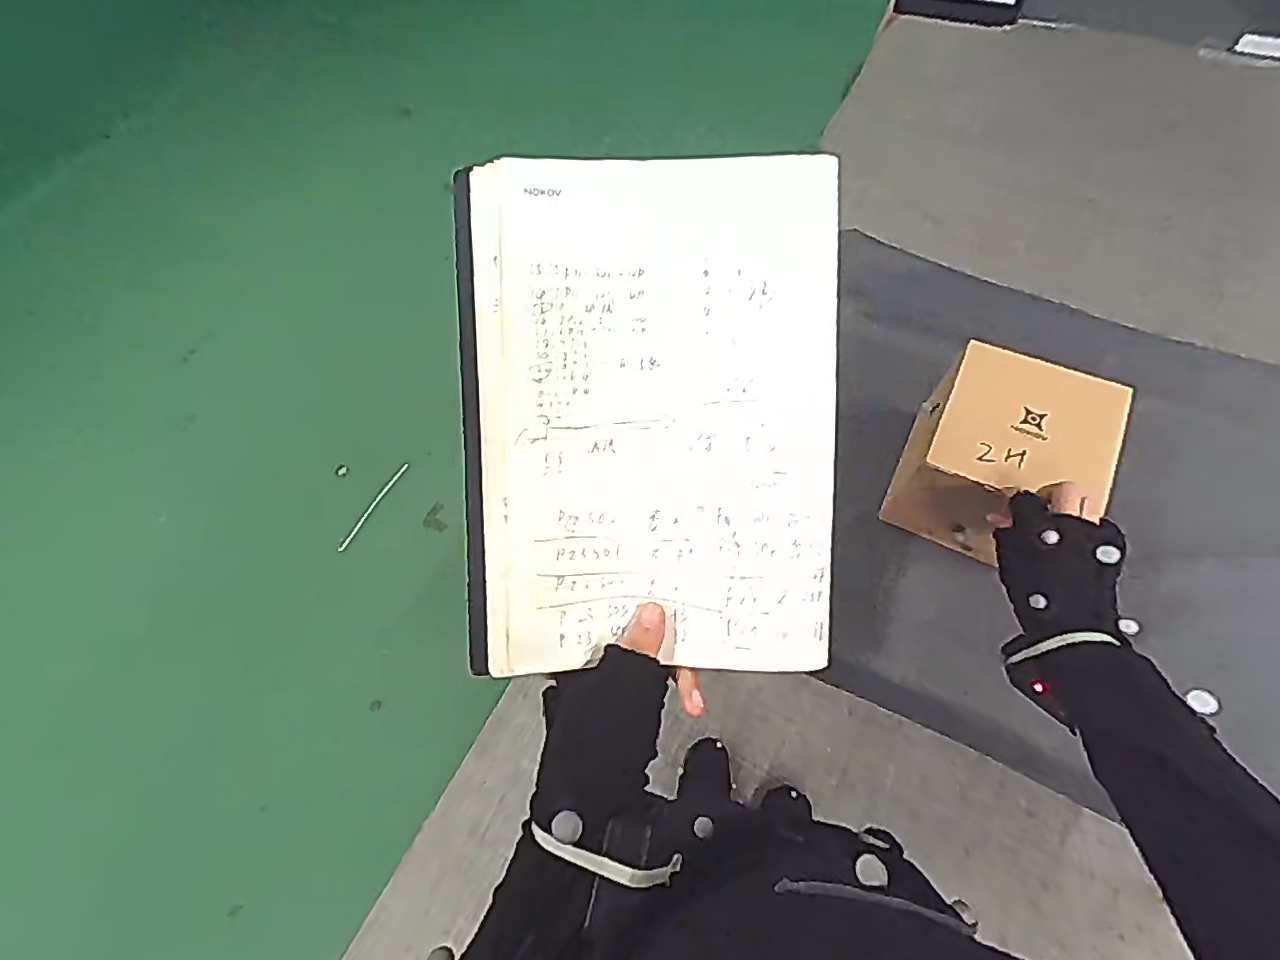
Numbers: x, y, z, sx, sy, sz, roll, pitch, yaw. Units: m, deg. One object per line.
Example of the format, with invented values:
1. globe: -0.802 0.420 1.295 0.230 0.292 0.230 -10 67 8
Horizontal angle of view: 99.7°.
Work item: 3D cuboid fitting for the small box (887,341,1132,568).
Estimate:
1. small box: 0.417 -0.024 0.637 0.168 0.176 0.179 24 70 17
